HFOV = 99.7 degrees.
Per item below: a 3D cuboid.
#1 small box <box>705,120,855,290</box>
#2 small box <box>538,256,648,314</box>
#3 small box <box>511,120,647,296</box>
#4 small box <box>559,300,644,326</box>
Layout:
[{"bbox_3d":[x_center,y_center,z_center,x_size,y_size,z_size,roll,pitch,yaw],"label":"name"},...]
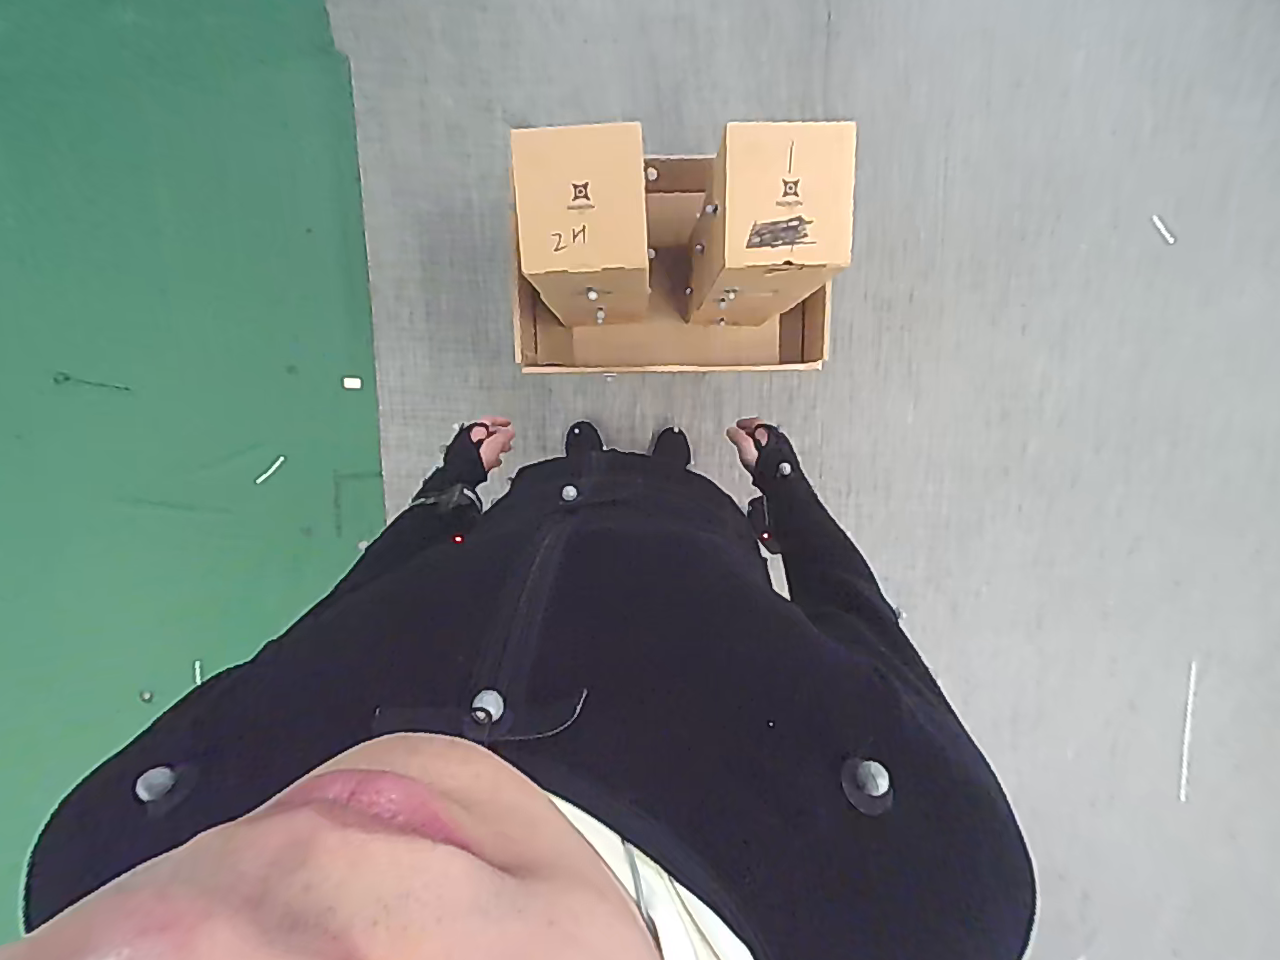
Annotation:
[{"bbox_3d":[0.185,-0.371,0.761,0.168,0.176,0.179,0,97,0],"label":"small box"},{"bbox_3d":[-0.080,-0.385,0.925,0.179,0.176,0.168,-3,98,0],"label":"small box"},{"bbox_3d":[-0.077,-0.368,0.760,0.168,0.176,0.179,-3,98,1],"label":"small box"},{"bbox_3d":[-0.081,-0.407,1.087,0.179,0.176,0.168,-1,97,-1],"label":"small box"}]
